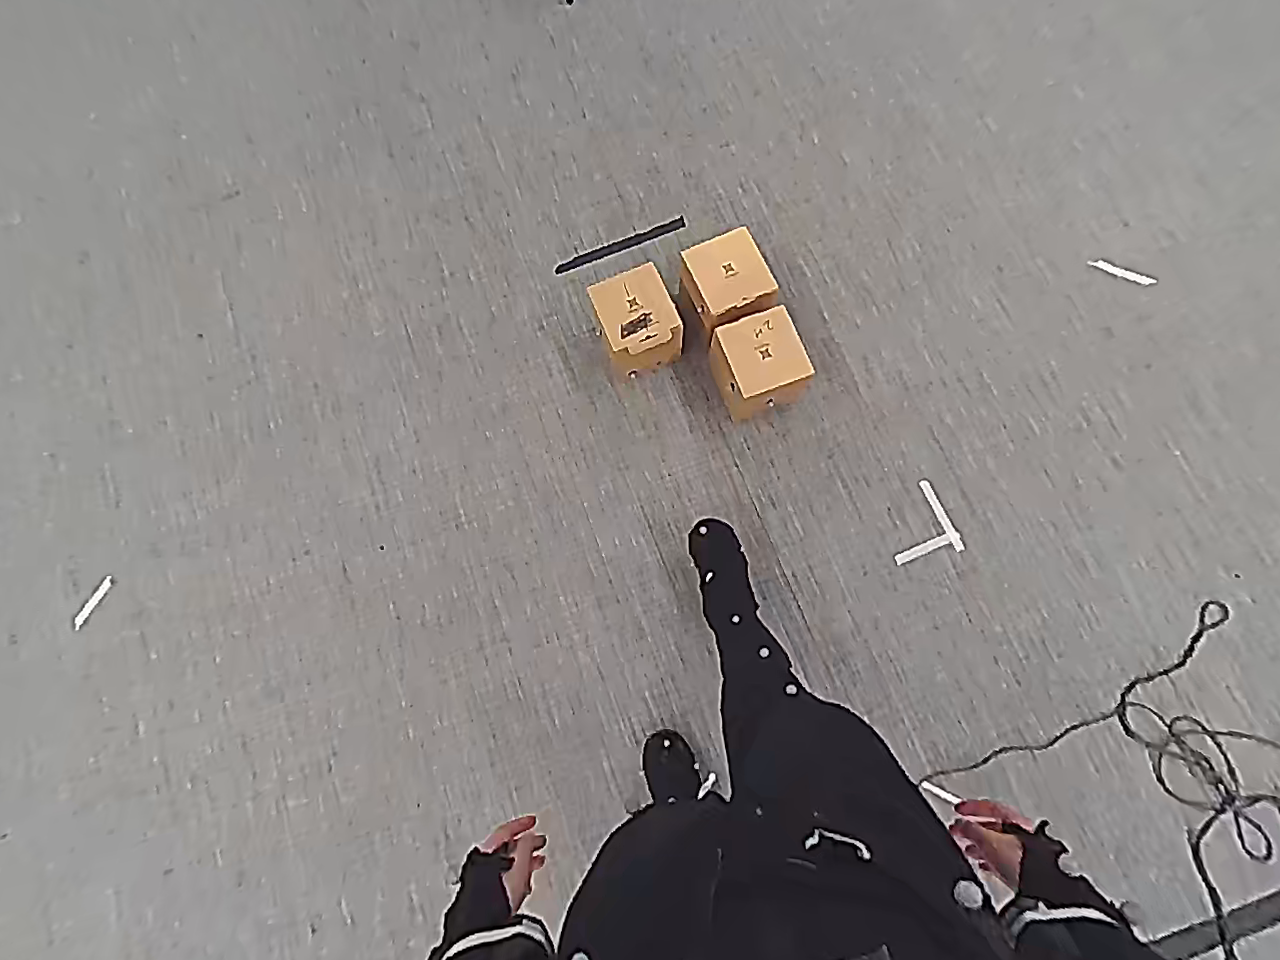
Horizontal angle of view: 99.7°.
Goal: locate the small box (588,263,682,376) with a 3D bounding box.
[{"bbox_3d":[-0.007,-0.364,1.273,0.168,0.176,0.179,-22,77,-2],"label":"small box"}]
